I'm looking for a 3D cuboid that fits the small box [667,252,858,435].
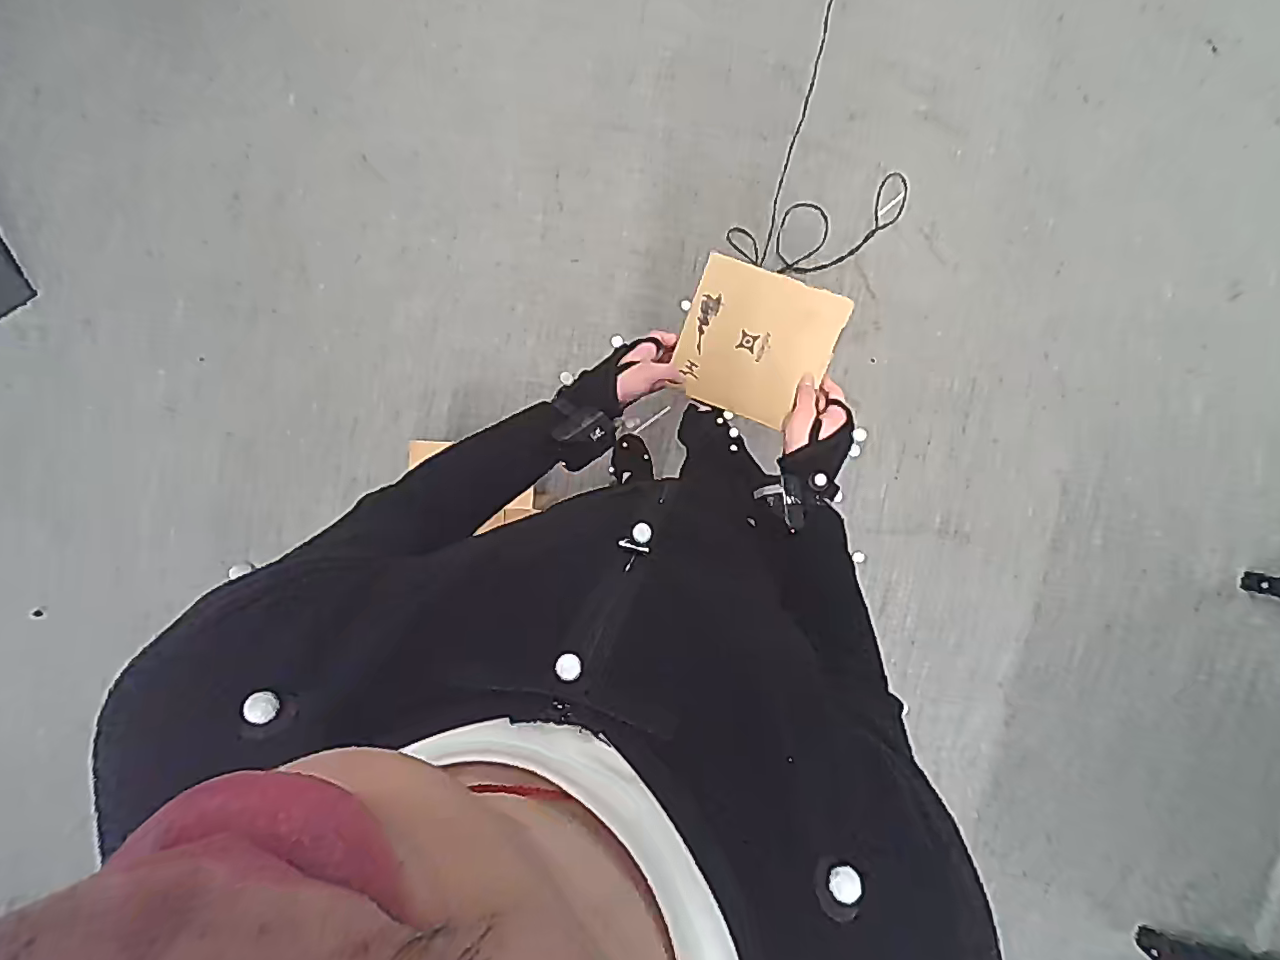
[{"bbox_3d":[0.153,-0.173,0.712,0.179,0.176,0.168,22,102,6],"label":"small box"}]
